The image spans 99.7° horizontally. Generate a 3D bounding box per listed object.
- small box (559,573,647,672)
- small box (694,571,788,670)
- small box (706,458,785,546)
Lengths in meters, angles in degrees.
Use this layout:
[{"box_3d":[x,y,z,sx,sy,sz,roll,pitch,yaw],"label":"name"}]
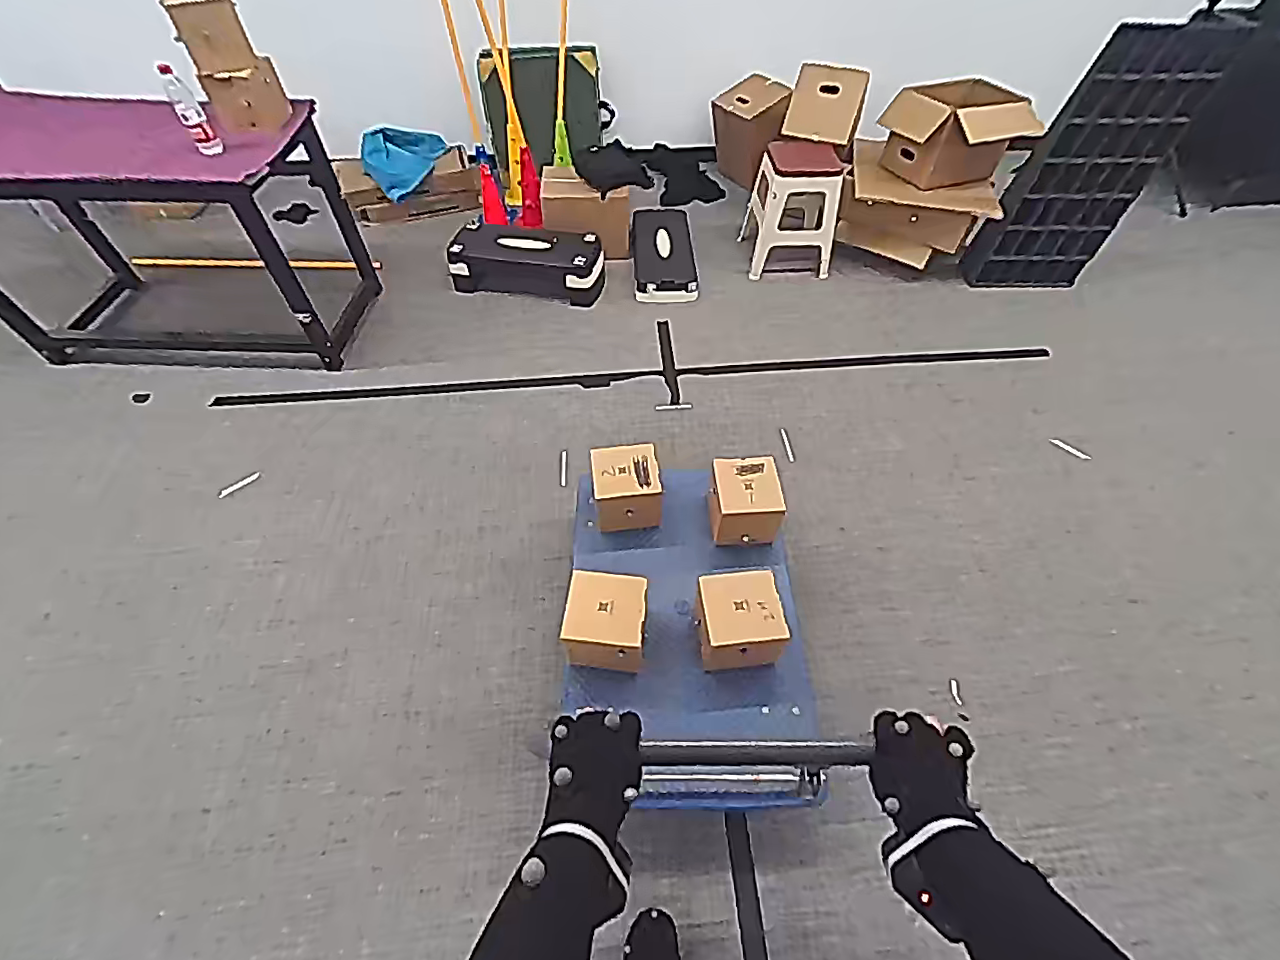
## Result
[{"box_3d":[-0.081,0.333,1.251,0.179,0.176,0.168,6,53,2],"label":"small box"},{"box_3d":[0.224,0.330,1.253,0.179,0.176,0.168,-5,54,-4],"label":"small box"},{"box_3d":[0.274,0.061,1.453,0.168,0.176,0.179,-3,55,-2],"label":"small box"}]
